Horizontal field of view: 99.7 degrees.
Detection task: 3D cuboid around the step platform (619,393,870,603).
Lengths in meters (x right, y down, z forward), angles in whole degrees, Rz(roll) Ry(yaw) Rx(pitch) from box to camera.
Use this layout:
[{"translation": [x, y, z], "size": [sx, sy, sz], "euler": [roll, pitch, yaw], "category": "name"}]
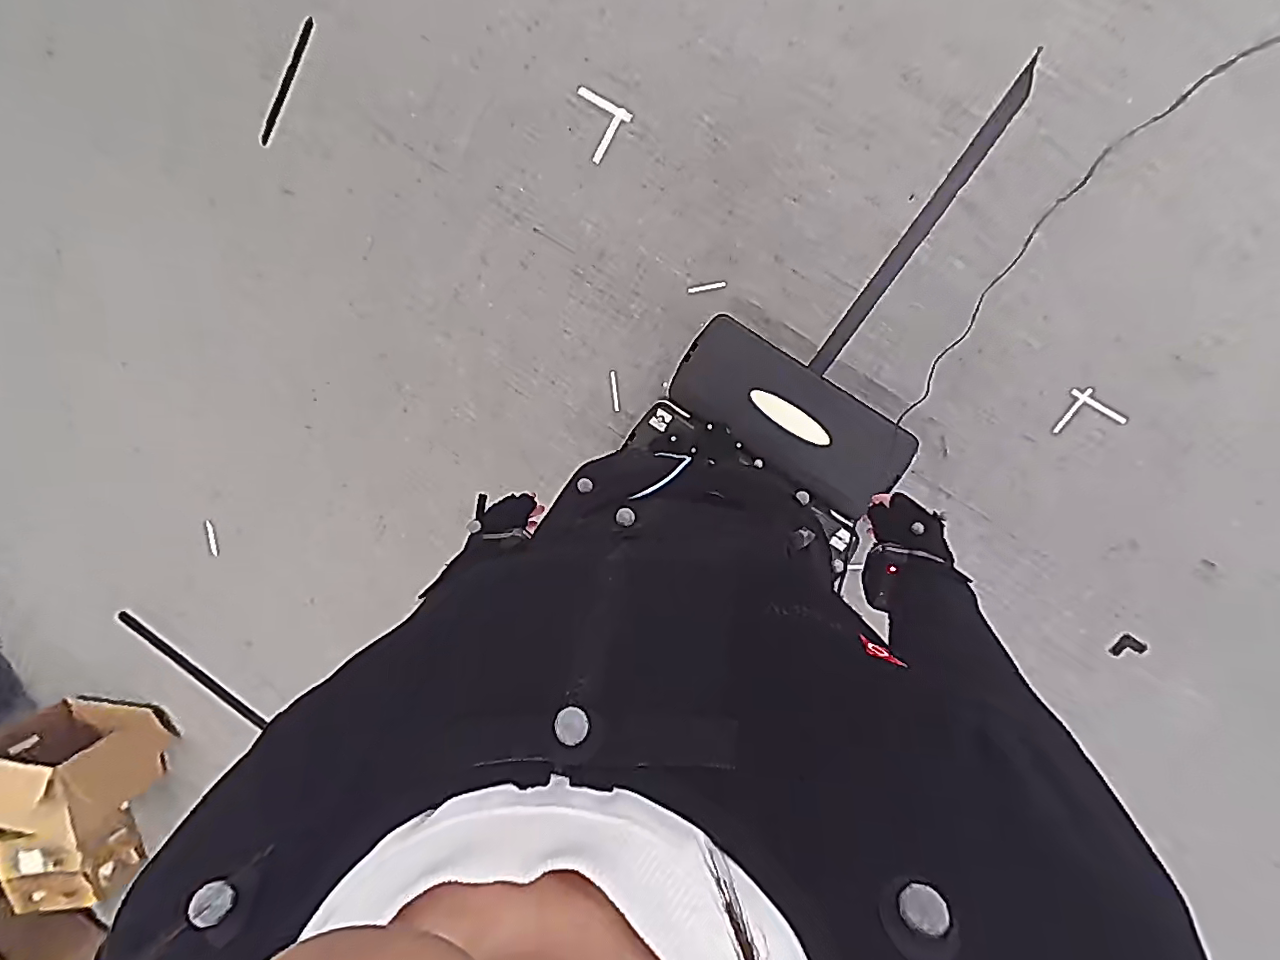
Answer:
[{"translation": [0.280, 0.043, 1.513], "size": [0.684, 0.204, 0.286], "euler": [33, 102, 5], "category": "step platform"}]
